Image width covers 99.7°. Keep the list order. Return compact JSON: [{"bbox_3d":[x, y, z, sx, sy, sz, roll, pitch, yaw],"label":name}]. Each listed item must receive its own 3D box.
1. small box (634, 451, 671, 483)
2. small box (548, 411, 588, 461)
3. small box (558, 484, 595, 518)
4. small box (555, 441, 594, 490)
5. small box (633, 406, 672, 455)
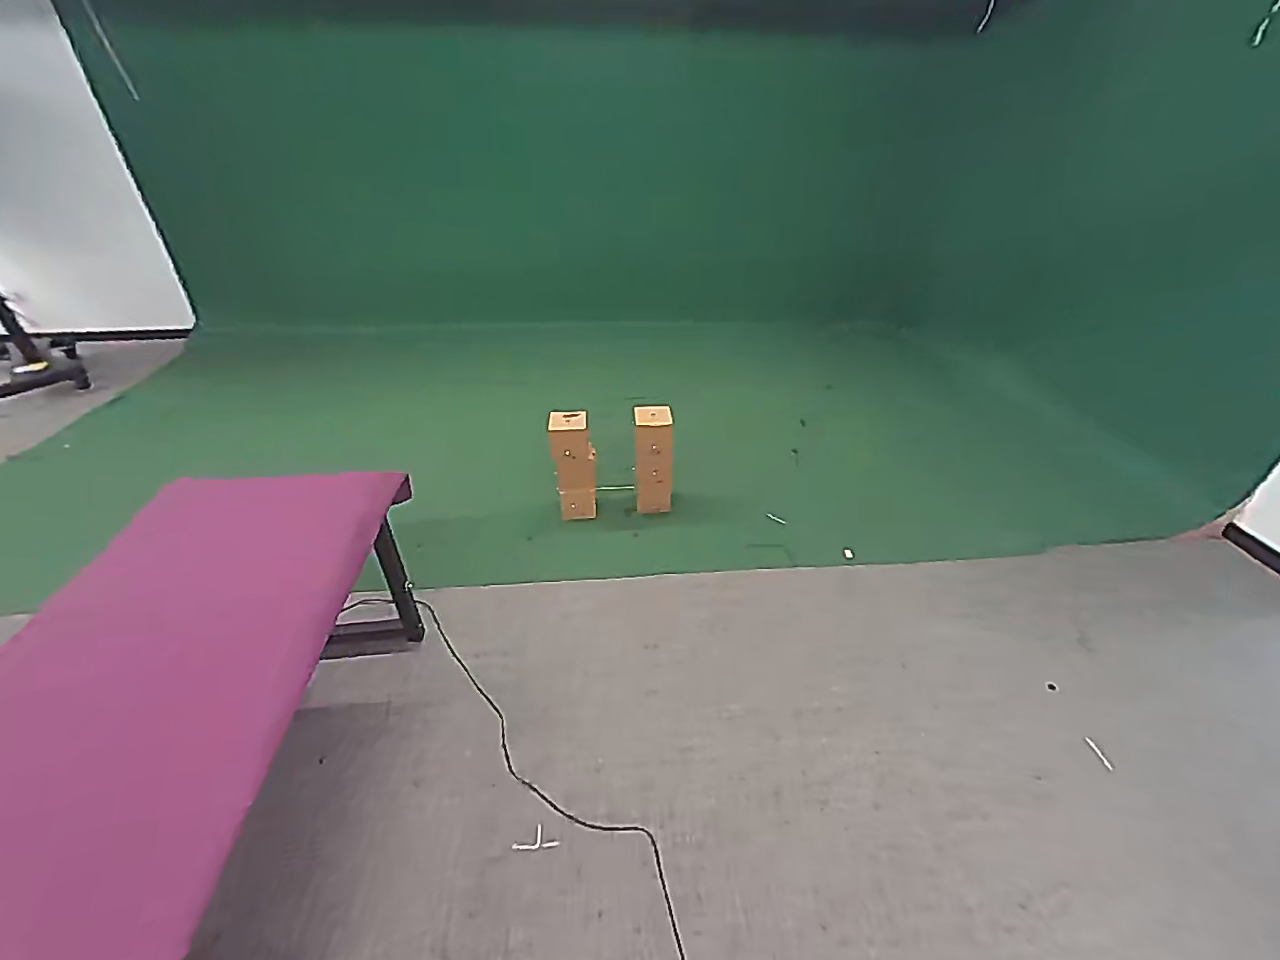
[{"bbox_3d":[0.055,-0.095,2.599,0.168,0.176,0.179,-1,37,-4],"label":"small box"},{"bbox_3d":[-0.328,-0.202,2.469,0.168,0.176,0.179,-2,34,-3],"label":"small box"},{"bbox_3d":[-0.310,0.075,2.642,0.168,0.176,0.179,-4,35,-6],"label":"small box"},{"bbox_3d":[-0.312,-0.067,2.562,0.179,0.176,0.168,-5,34,-6],"label":"small box"},{"bbox_3d":[0.054,-0.230,2.505,0.168,0.176,0.179,-1,36,-3],"label":"small box"}]
